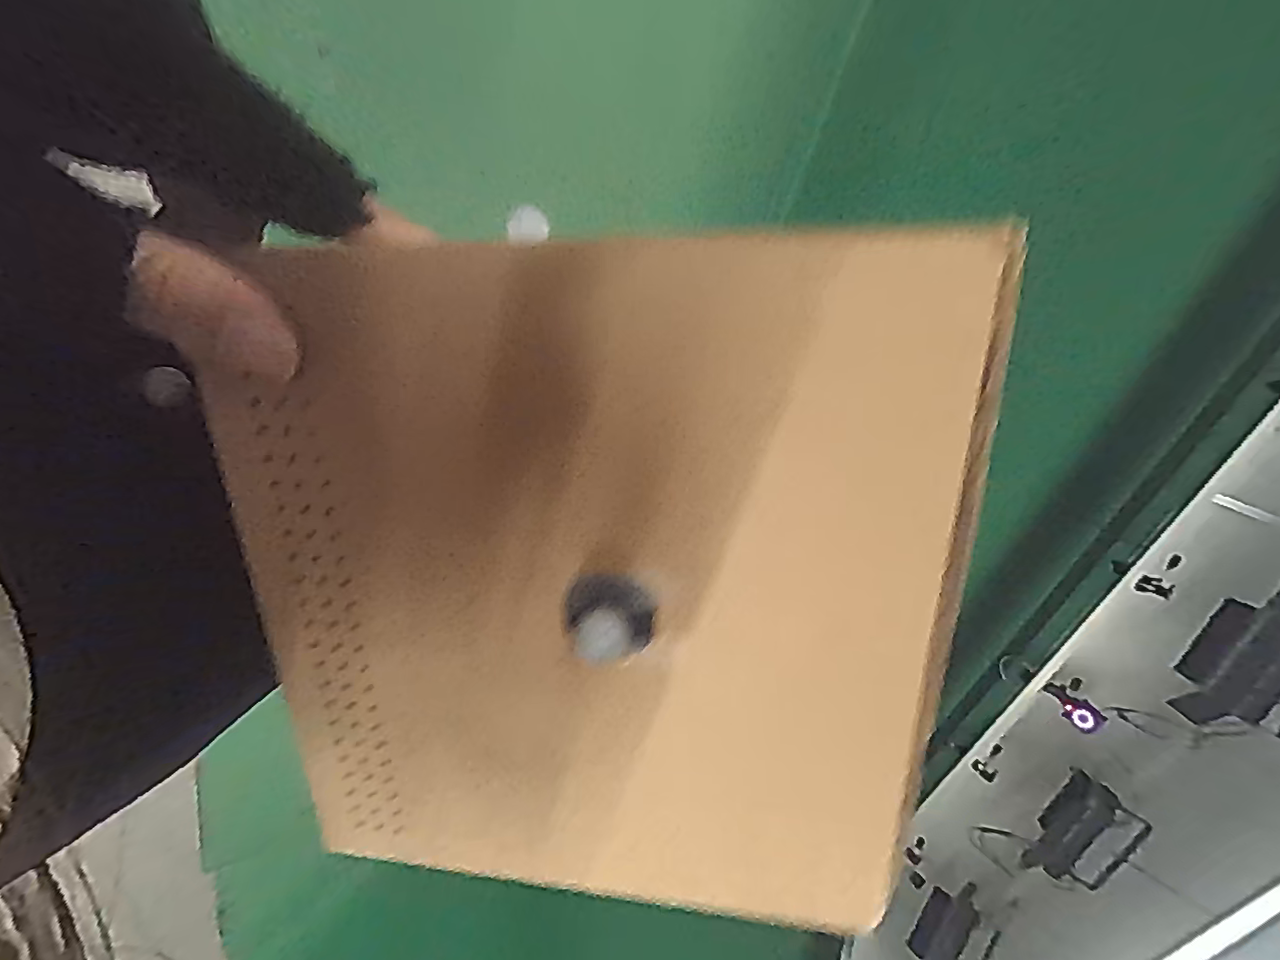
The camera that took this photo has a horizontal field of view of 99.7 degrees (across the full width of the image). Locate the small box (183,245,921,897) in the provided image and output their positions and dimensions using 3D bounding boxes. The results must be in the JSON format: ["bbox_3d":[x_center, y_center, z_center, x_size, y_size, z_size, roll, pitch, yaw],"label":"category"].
[{"bbox_3d":[-0.017,0.010,0.213,0.168,0.176,0.179,-67,158,-70],"label":"small box"}]
